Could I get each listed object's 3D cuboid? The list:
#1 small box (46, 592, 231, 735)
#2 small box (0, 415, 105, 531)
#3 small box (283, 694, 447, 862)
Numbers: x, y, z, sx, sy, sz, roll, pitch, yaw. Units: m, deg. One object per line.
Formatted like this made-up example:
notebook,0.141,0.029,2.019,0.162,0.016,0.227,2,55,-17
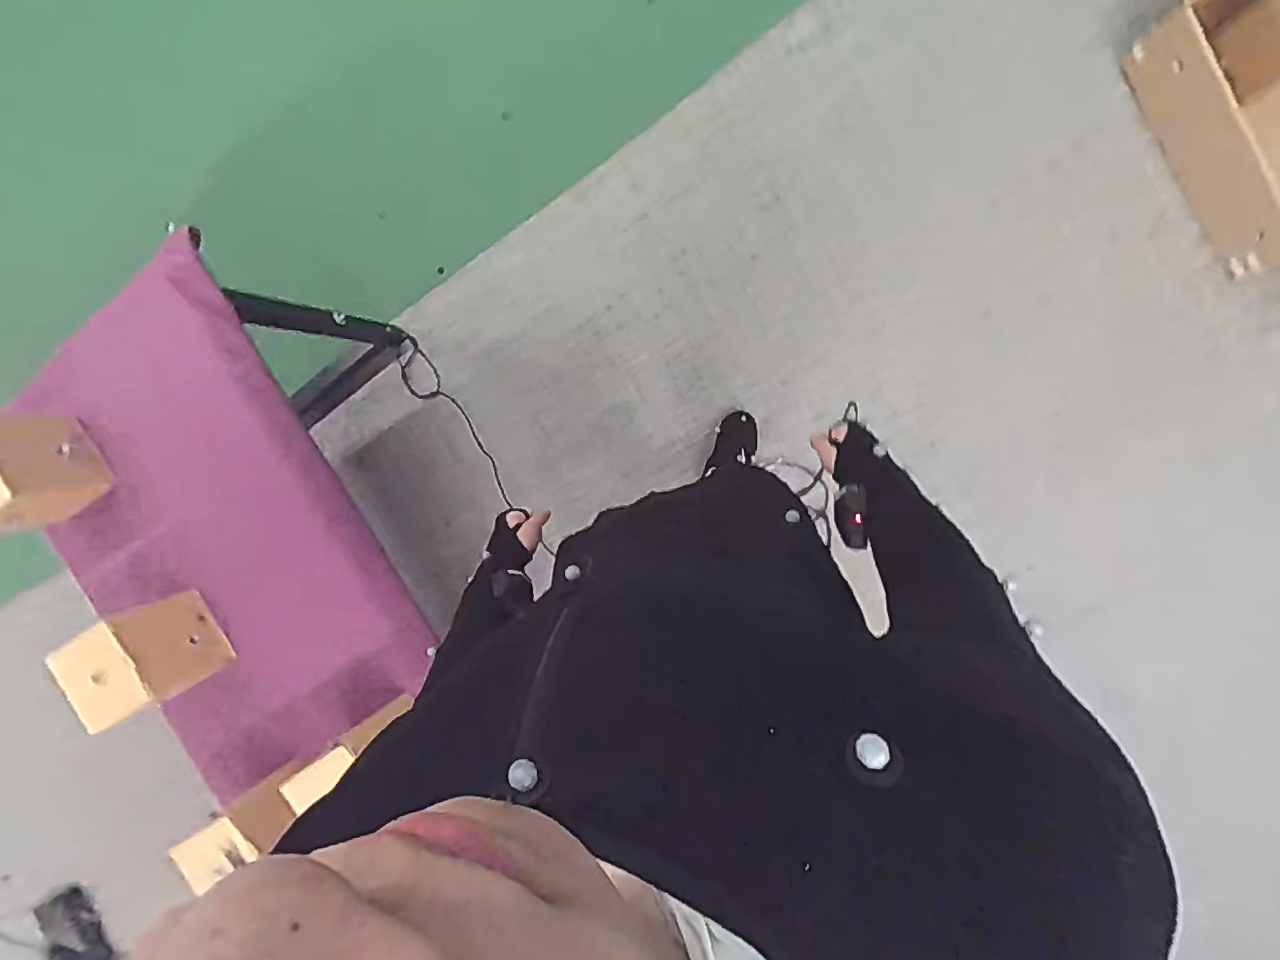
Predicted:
small box,-0.951,0.343,1.039,0.179,0.176,0.168,-31,92,12
small box,-1.195,-0.010,1.026,0.179,0.176,0.168,-30,94,13
small box,-0.477,0.524,0.974,0.179,0.176,0.168,-36,90,15
